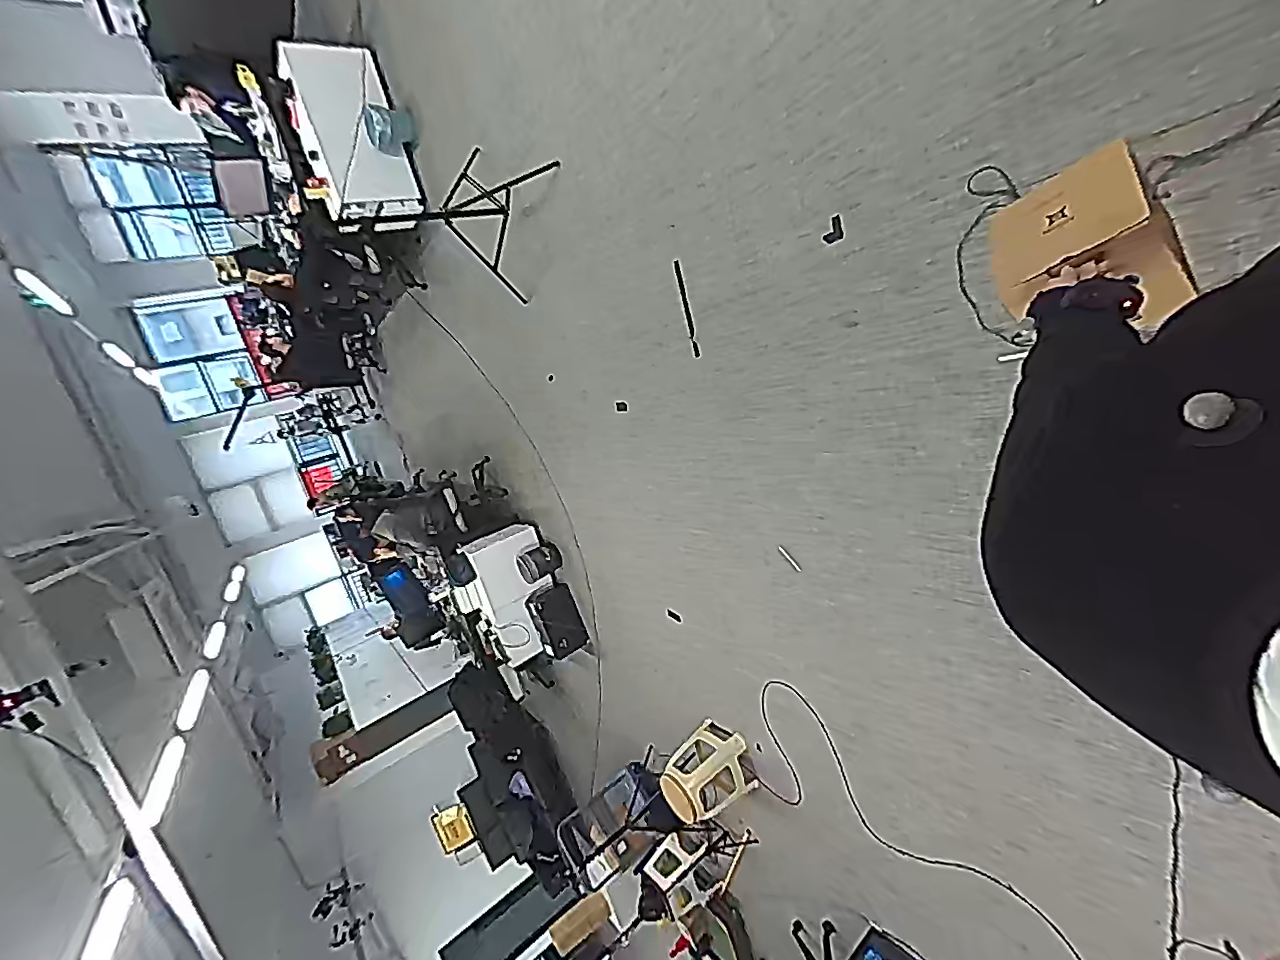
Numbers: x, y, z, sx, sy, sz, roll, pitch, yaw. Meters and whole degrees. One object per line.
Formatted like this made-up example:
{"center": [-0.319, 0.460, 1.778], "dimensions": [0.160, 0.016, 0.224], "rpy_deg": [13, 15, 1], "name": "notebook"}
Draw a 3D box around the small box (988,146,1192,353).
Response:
{"center": [0.619, -0.304, 0.755], "dimensions": [0.176, 0.179, 0.168], "rpy_deg": [32, 147, -24], "name": "small box"}
